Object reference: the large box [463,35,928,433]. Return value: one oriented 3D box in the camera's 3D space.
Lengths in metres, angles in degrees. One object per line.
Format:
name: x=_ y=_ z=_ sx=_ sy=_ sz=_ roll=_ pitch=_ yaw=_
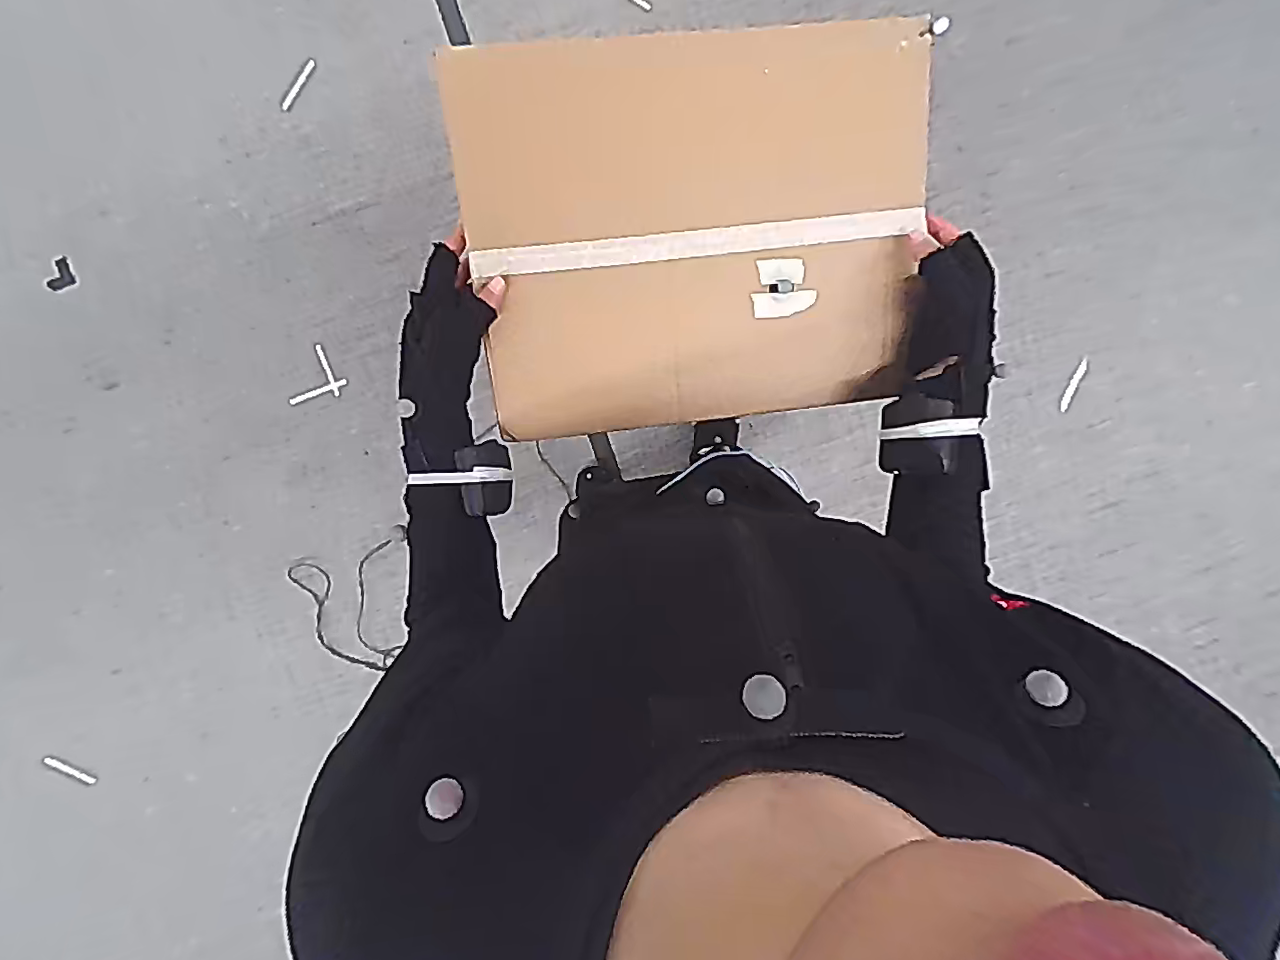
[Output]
large box: x=0.048 y=-0.251 z=0.631 sx=0.408 sy=0.320 sz=0.320 roll=-6 pitch=106 yaw=-5
